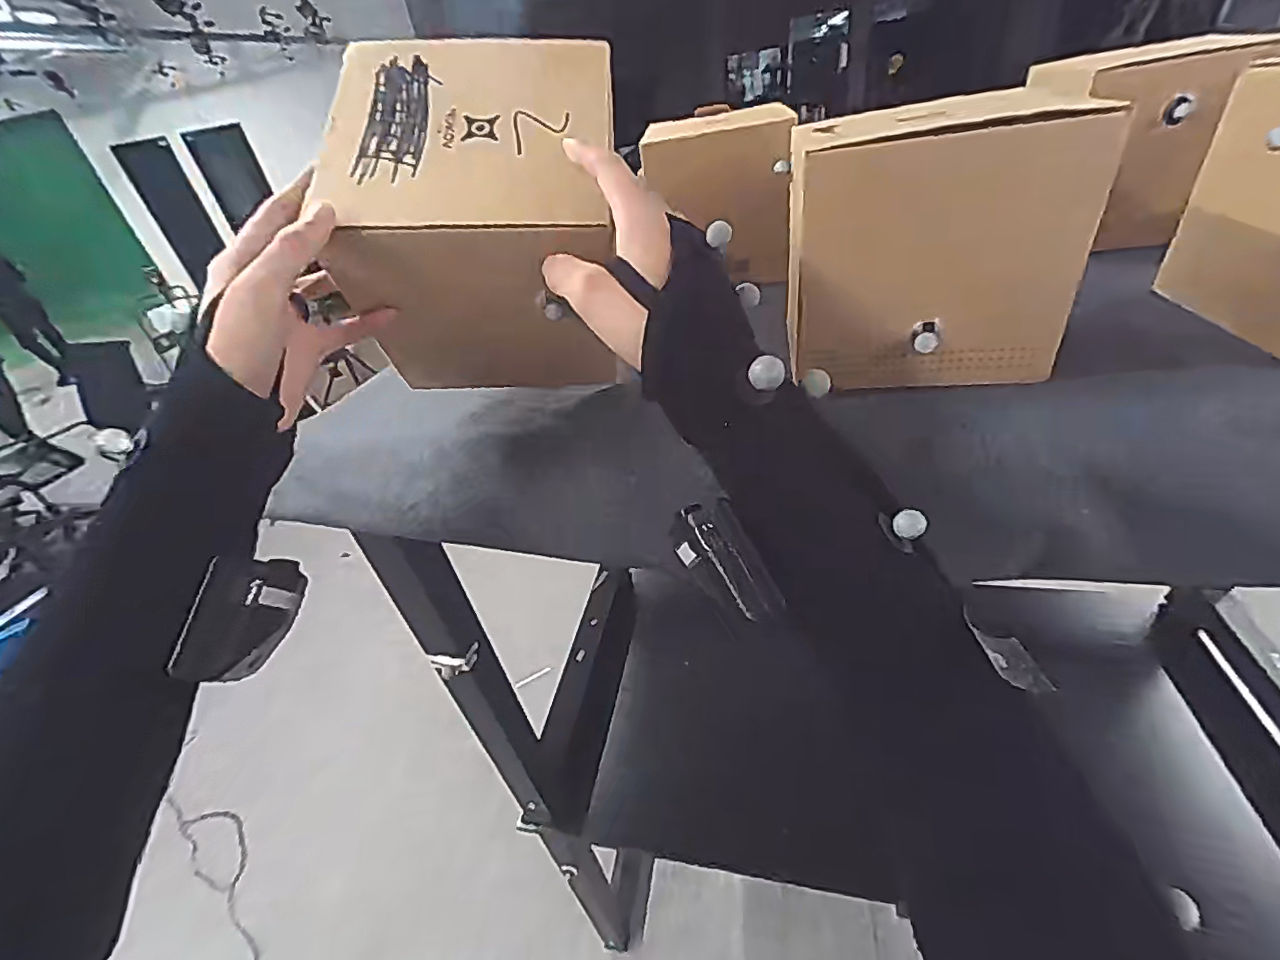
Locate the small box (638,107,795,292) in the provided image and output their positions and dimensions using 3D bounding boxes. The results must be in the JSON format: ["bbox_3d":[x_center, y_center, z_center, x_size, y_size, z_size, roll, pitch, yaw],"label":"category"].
[{"bbox_3d":[0.097,-0.346,0.670,0.168,0.176,0.179,-4,36,10],"label":"small box"}]

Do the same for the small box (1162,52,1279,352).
[{"bbox_3d":[0.508,-0.186,0.349,0.168,0.176,0.179,-1,36,13],"label":"small box"}]

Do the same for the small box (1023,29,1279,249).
[{"bbox_3d":[0.523,-0.359,0.581,0.179,0.176,0.168,0,38,14],"label":"small box"}]

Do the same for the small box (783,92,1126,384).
[{"bbox_3d":[0.206,-0.185,0.421,0.179,0.176,0.168,0,36,13],"label":"small box"}]
